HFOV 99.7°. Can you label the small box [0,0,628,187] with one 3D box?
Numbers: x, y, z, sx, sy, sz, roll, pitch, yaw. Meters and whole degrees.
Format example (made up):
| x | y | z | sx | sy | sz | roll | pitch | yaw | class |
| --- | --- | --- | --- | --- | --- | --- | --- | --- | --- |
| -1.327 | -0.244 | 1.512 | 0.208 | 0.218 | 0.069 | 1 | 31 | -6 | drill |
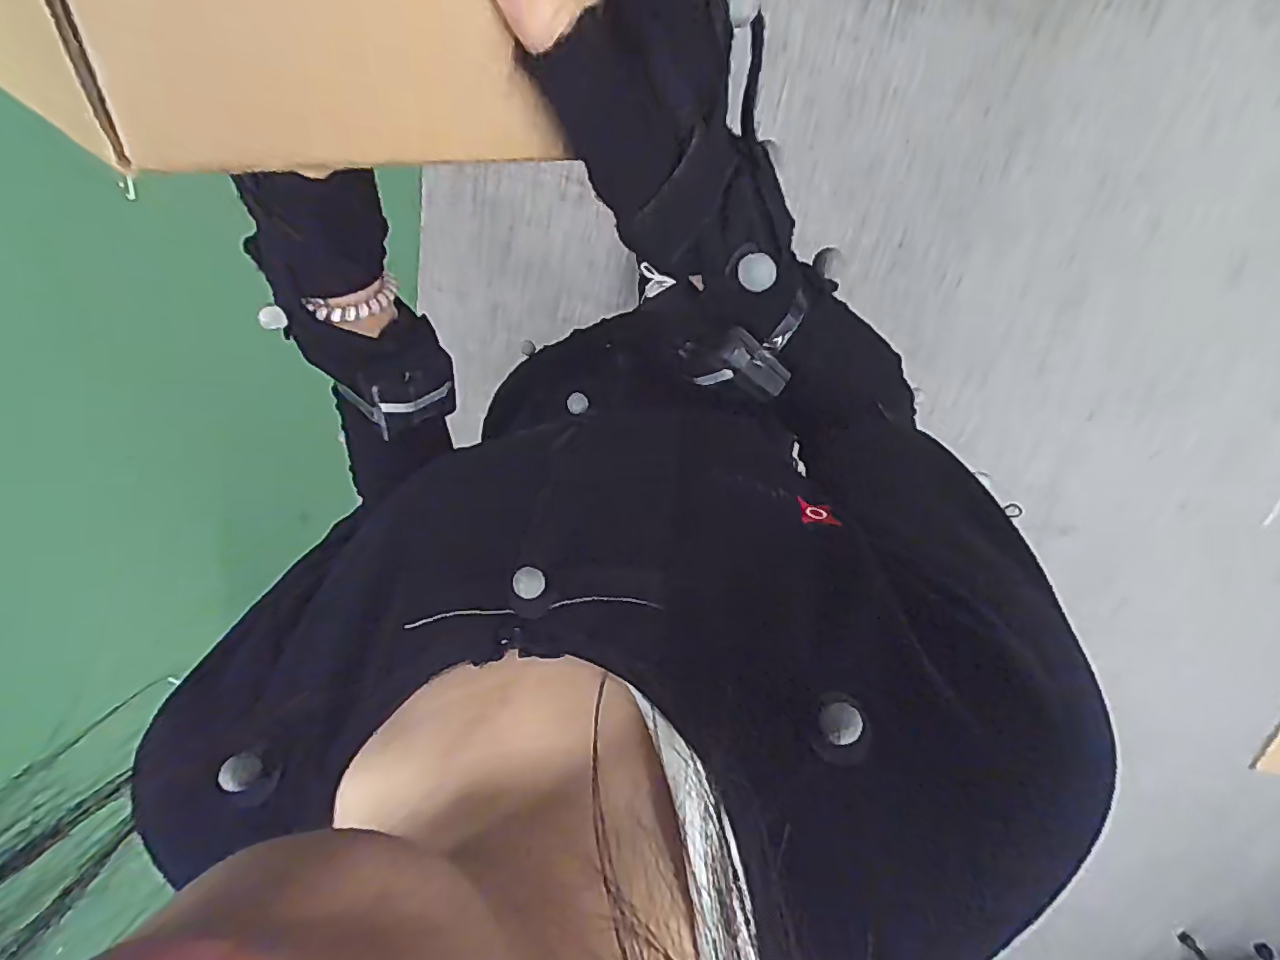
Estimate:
| x | y | z | sx | sy | sz | roll | pitch | yaw | class |
| --- | --- | --- | --- | --- | --- | --- | --- | --- | --- |
| -0.108 | -0.208 | 0.160 | 0.168 | 0.176 | 0.179 | 33 | 133 | 23 | small box |
